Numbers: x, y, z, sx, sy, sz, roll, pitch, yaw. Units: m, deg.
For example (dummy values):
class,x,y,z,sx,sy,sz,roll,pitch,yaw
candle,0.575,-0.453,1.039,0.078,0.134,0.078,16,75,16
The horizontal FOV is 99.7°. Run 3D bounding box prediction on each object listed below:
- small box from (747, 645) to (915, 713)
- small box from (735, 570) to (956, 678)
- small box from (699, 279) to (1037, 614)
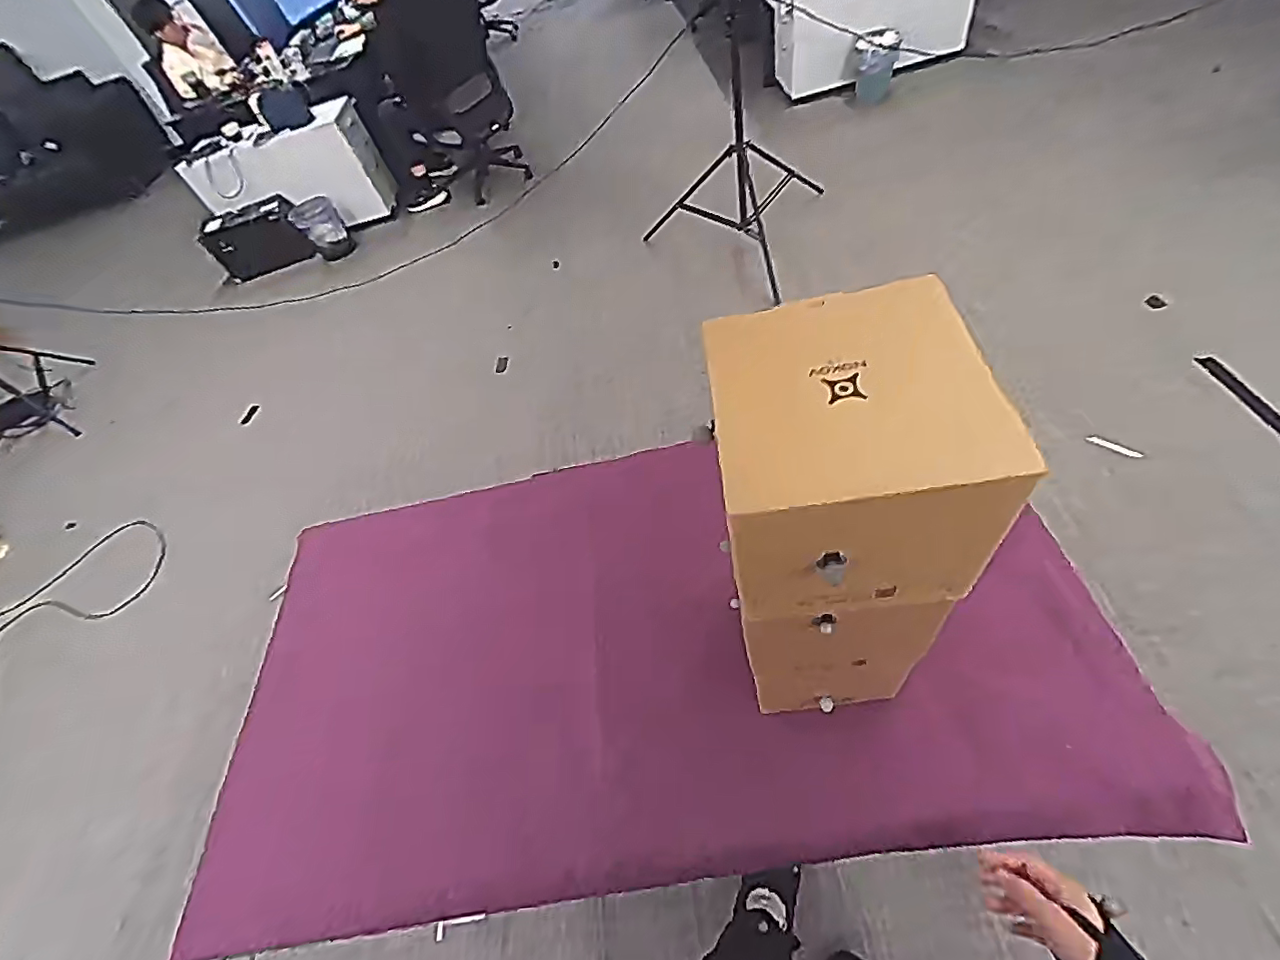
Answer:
class,x,y,z,sx,sy,sz,roll,pitch,yaw
small box,0.212,0.169,0.666,0.168,0.176,0.179,-10,53,8
small box,0.177,0.078,0.534,0.168,0.176,0.179,-9,52,9
small box,0.143,-0.012,0.401,0.168,0.176,0.179,-9,52,9
